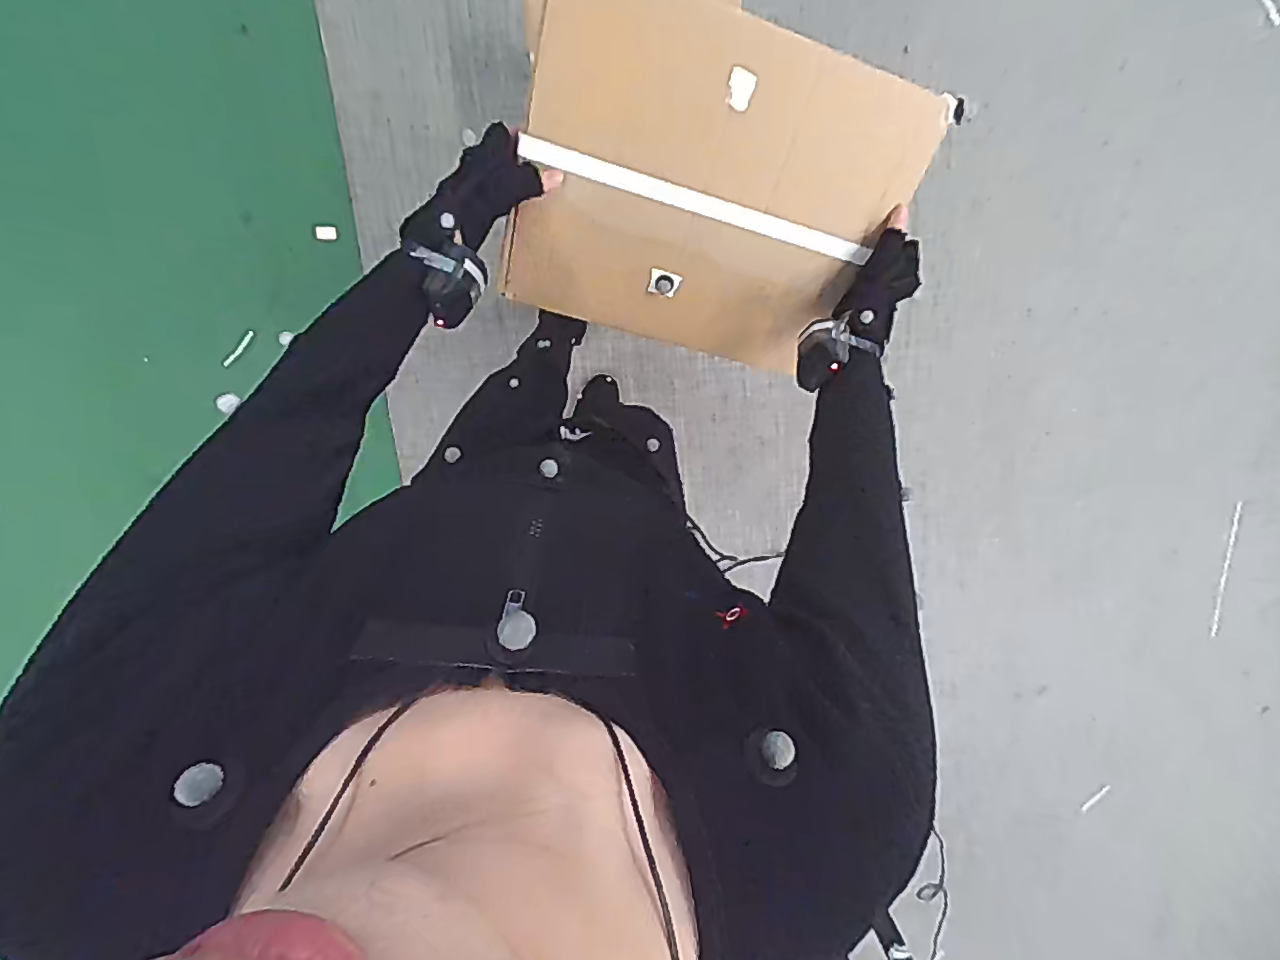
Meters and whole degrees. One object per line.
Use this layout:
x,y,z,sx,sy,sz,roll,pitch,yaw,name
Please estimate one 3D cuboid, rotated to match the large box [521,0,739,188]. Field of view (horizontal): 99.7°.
-0.020,-0.836,1.158,0.408,0.320,0.320,-4,105,-3,large box
